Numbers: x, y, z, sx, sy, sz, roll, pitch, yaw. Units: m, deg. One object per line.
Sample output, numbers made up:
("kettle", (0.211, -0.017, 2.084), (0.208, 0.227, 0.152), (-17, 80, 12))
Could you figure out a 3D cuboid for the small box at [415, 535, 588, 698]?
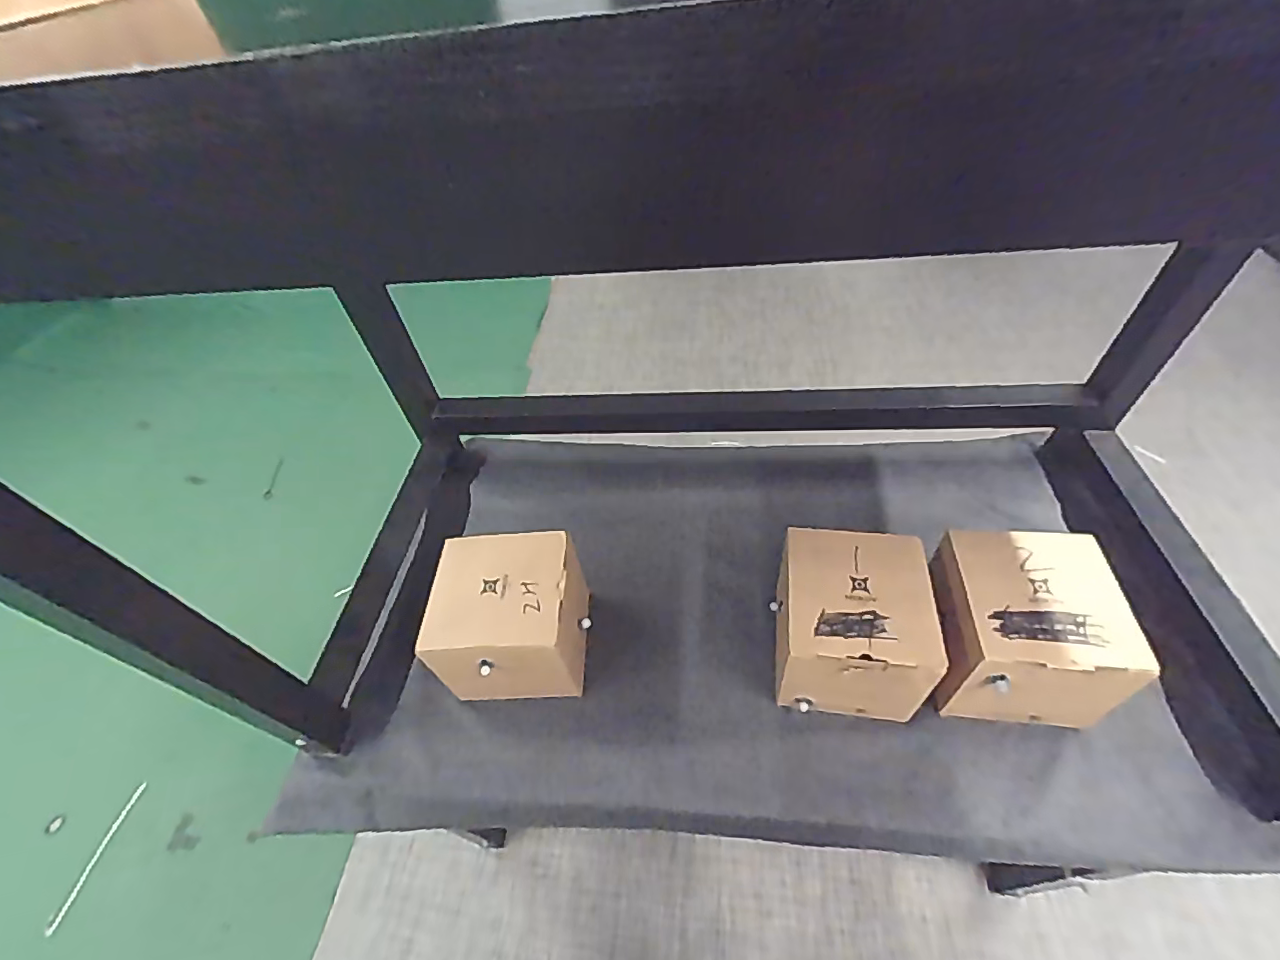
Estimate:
("small box", (-0.177, 0.194, 0.756), (0.179, 0.176, 0.168), (-3, 49, 4))
